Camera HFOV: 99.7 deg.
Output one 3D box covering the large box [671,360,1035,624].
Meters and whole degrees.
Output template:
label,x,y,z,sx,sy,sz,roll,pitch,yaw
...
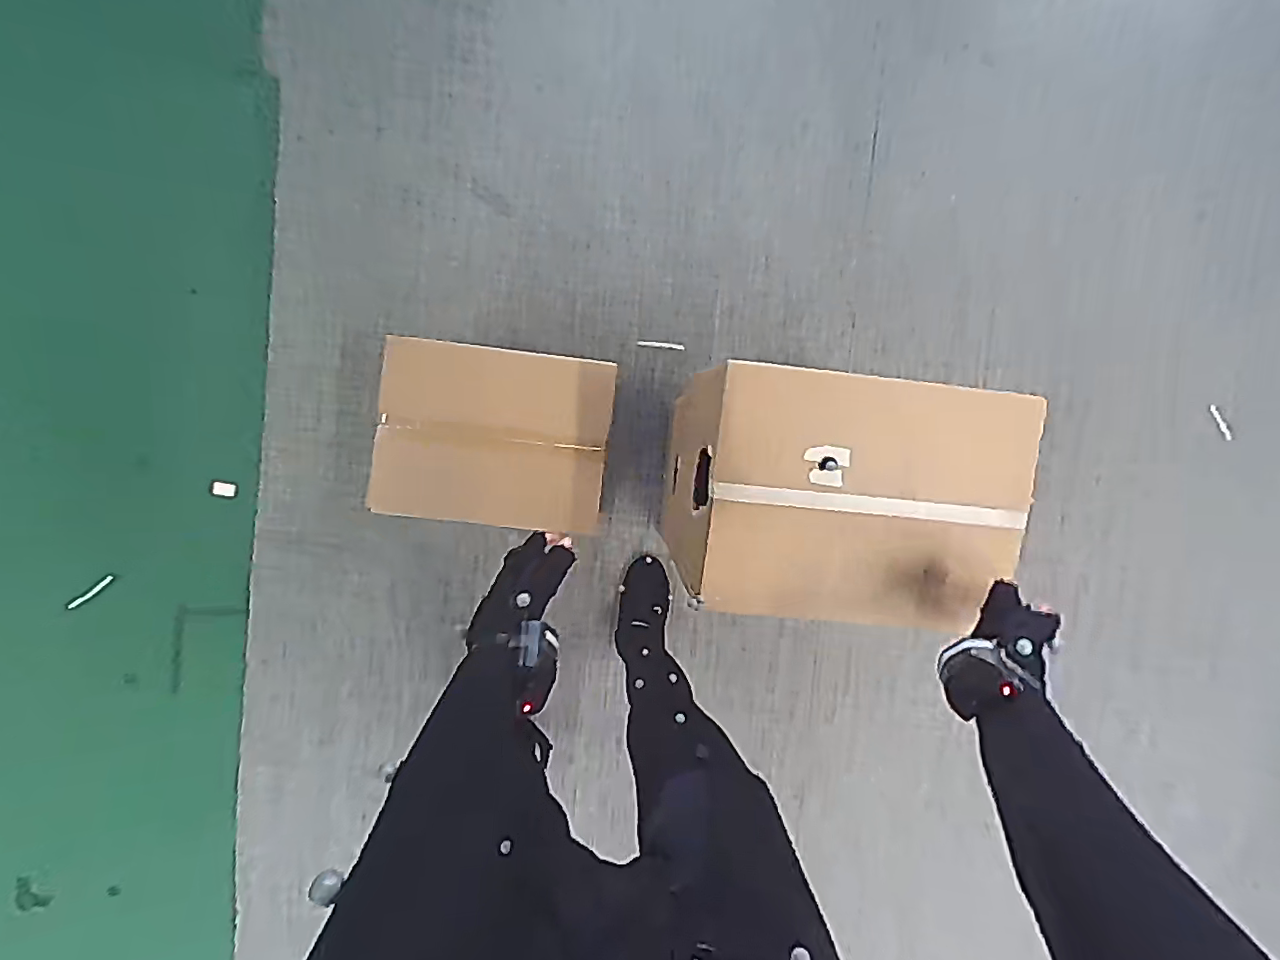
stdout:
label,x,y,z,sx,sy,sz,roll,pitch,yaw
large box,0.273,0.000,0.825,0.408,0.320,0.320,6,98,-3
